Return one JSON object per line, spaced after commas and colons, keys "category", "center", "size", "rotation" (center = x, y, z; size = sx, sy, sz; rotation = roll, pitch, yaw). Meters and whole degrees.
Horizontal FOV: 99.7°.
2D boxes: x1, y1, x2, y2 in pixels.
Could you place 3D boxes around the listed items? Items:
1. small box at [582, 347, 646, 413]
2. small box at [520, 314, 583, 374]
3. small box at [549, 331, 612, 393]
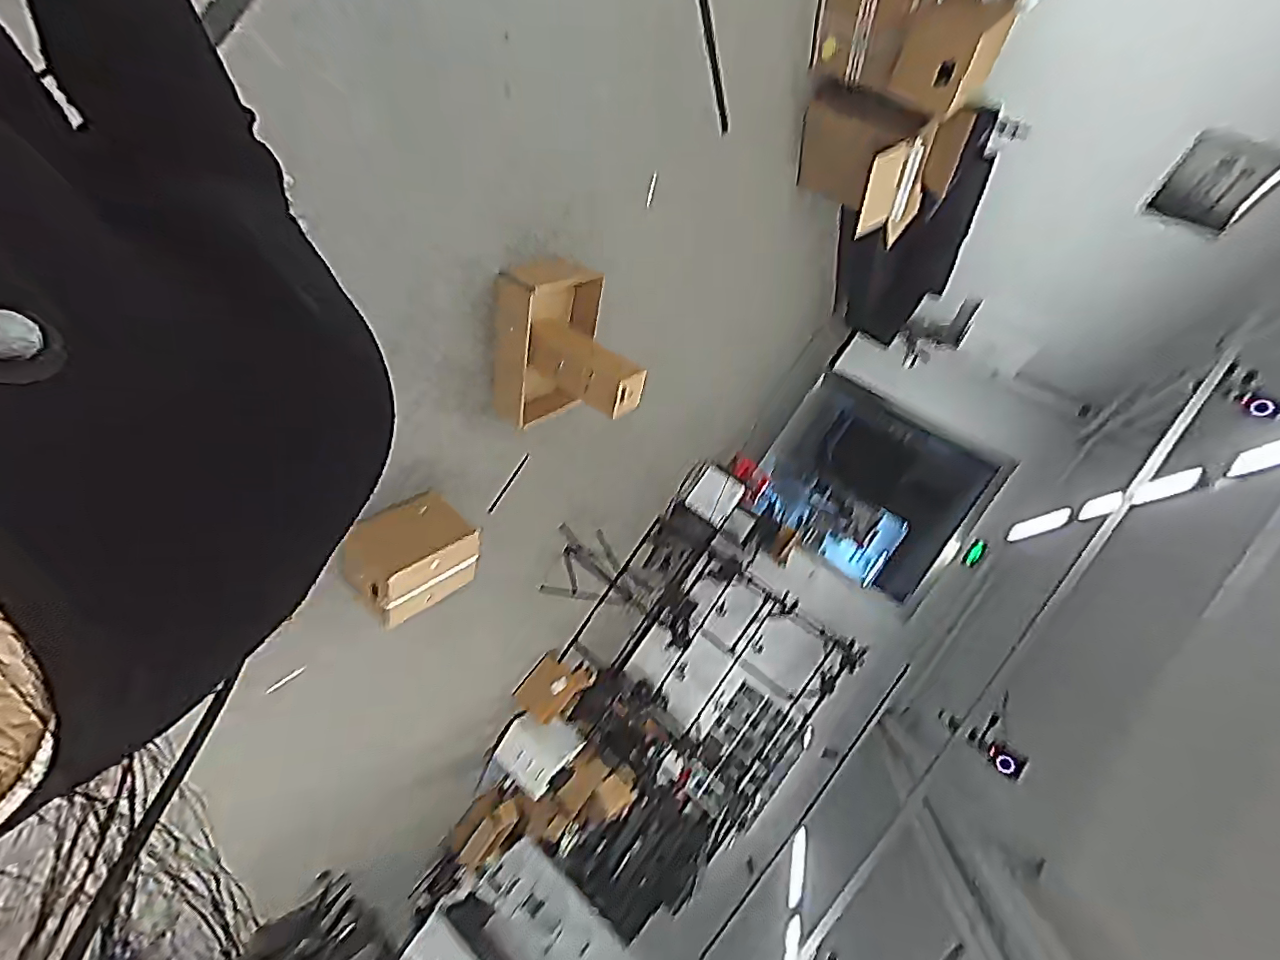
{"category": "small box", "center": [-0.106, -0.393, 2.106], "size": [0.179, 0.176, 0.168], "rotation": [-37, 152, -44]}
{"category": "small box", "center": [-0.363, -0.562, 2.216], "size": [0.179, 0.176, 0.168], "rotation": [-33, 150, -45]}
{"category": "small box", "center": [-0.237, -0.476, 2.161], "size": [0.179, 0.176, 0.168], "rotation": [-34, 149, -44]}
